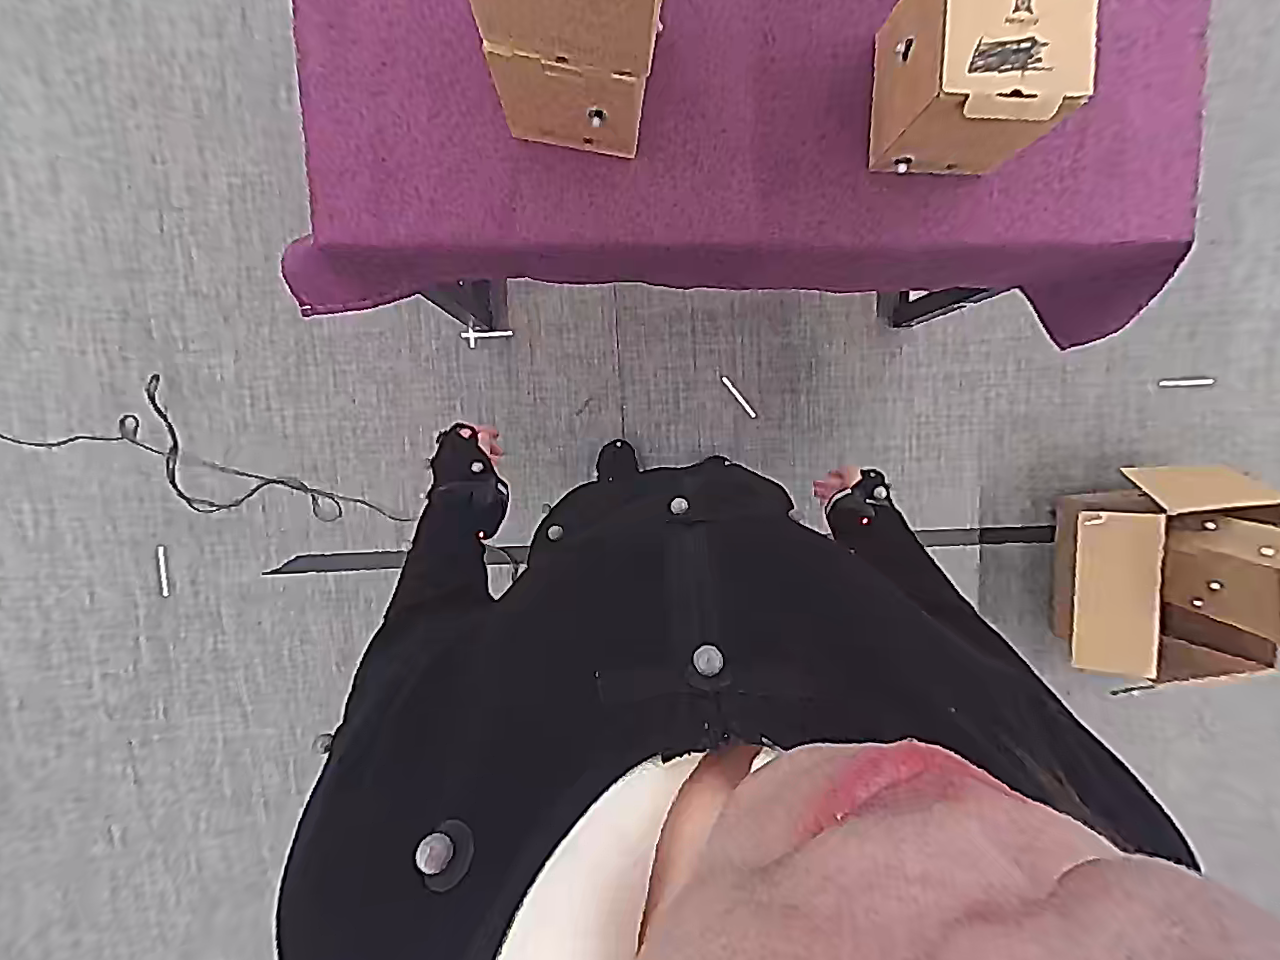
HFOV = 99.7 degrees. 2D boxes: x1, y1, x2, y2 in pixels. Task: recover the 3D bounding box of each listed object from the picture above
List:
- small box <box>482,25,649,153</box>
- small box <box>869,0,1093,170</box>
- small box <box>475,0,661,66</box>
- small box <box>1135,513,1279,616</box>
[{"bbox_3d":[-0.072,-0.519,0.629,0.168,0.176,0.179,9,94,-4],"label":"small box"},{"bbox_3d":[0.392,-0.499,0.648,0.168,0.176,0.179,1,94,-2],"label":"small box"},{"bbox_3d":[-0.059,-0.506,0.466,0.179,0.176,0.168,10,95,-4],"label":"small box"},{"bbox_3d":[1.349,0.191,1.297,0.168,0.176,0.179,-24,99,2],"label":"small box"}]
